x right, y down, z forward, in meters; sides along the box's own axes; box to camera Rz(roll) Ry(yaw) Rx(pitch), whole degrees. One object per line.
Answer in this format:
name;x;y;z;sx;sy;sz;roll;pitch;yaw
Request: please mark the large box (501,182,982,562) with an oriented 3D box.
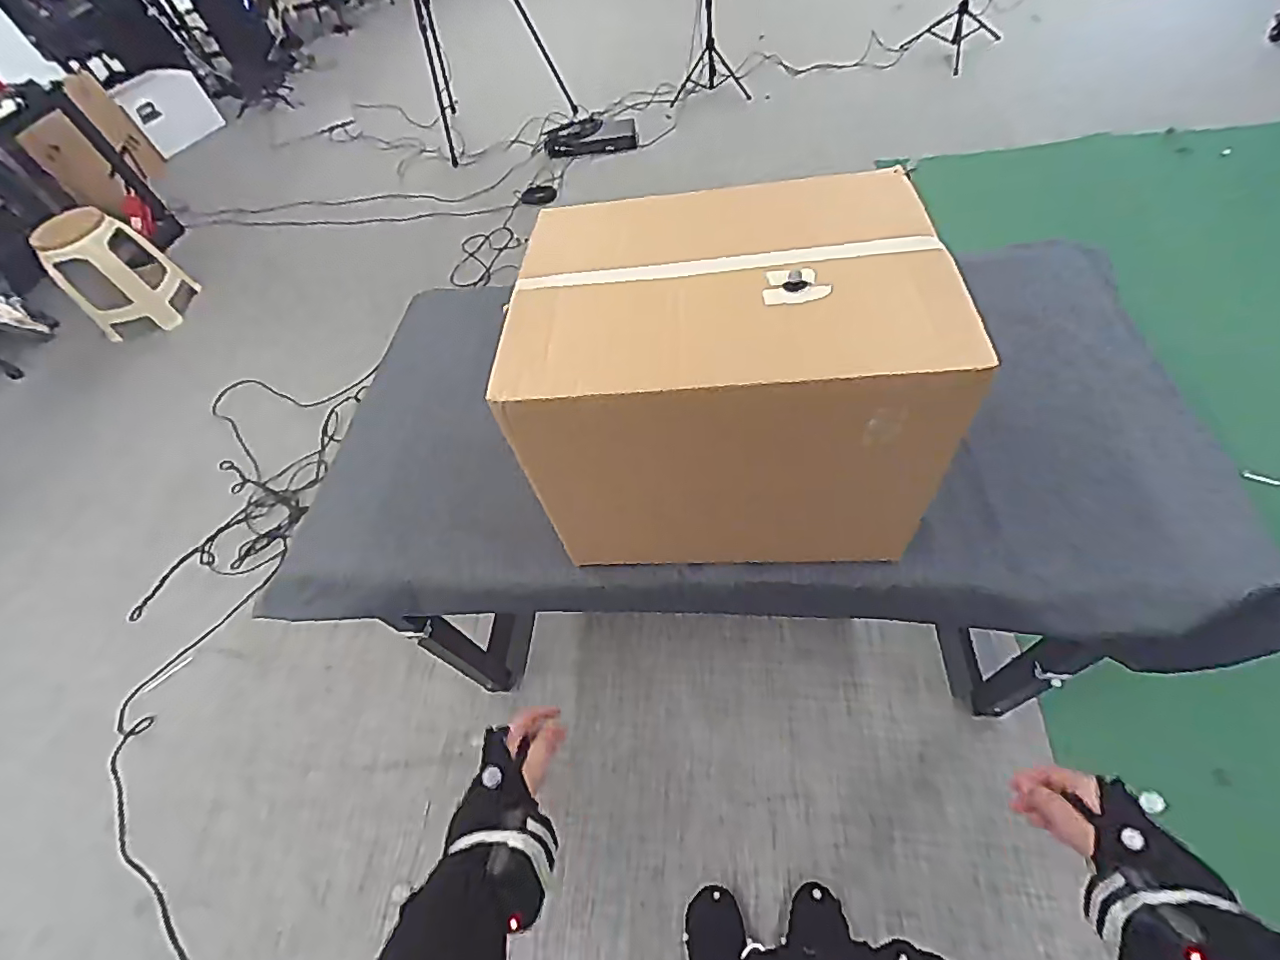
large box;0.097;-0.110;0.651;0.408;0.320;0.320;-2;54;8
